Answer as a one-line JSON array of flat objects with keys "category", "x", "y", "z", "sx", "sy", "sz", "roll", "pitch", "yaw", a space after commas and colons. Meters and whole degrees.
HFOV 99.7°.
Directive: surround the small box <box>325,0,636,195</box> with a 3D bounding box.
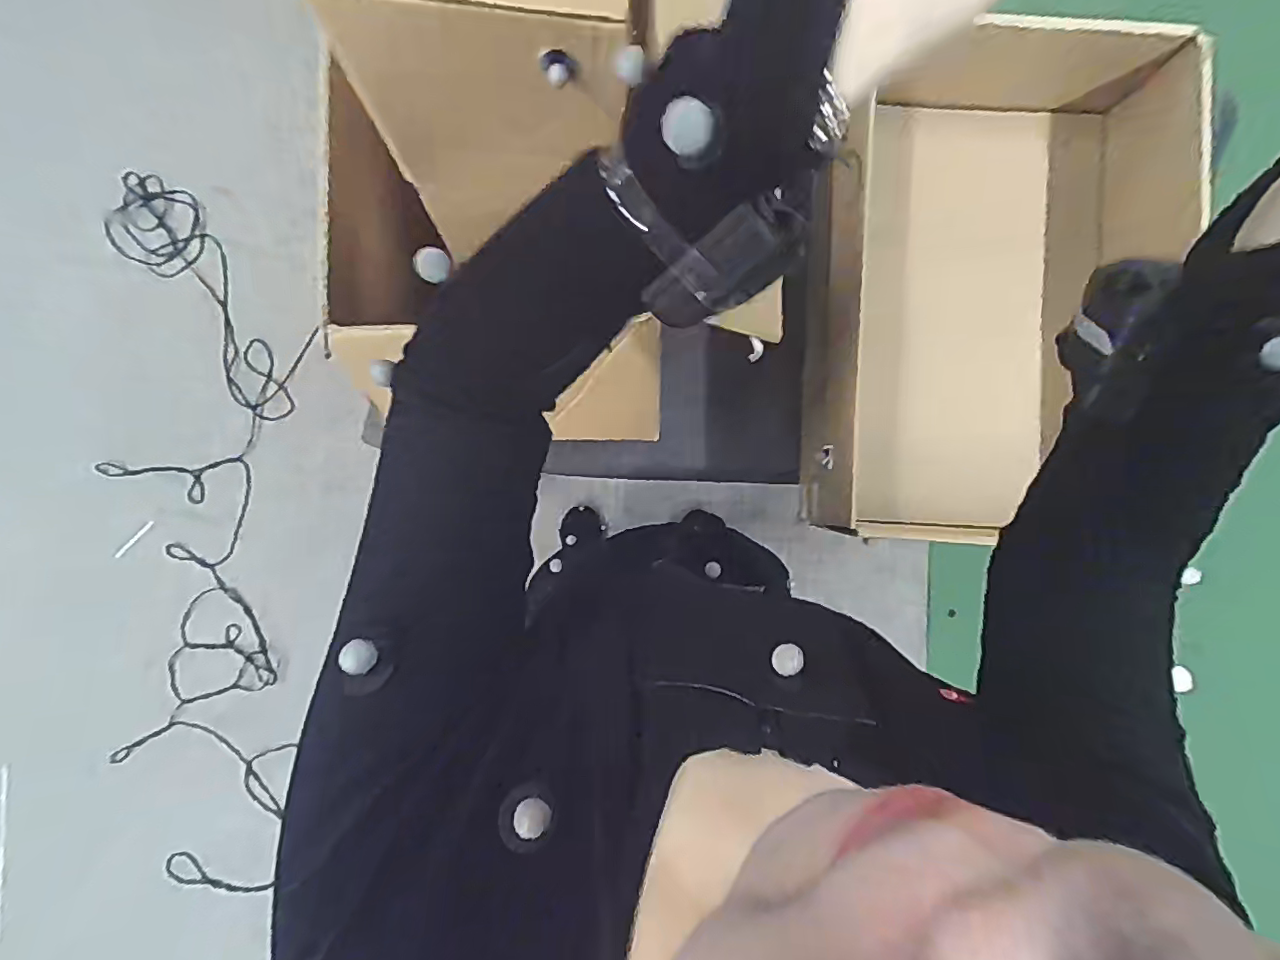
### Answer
[{"category": "small box", "x": -0.093, "y": -0.327, "z": 0.376, "sx": 0.179, "sy": 0.176, "sz": 0.168, "roll": 2, "pitch": 86, "yaw": -6}]
